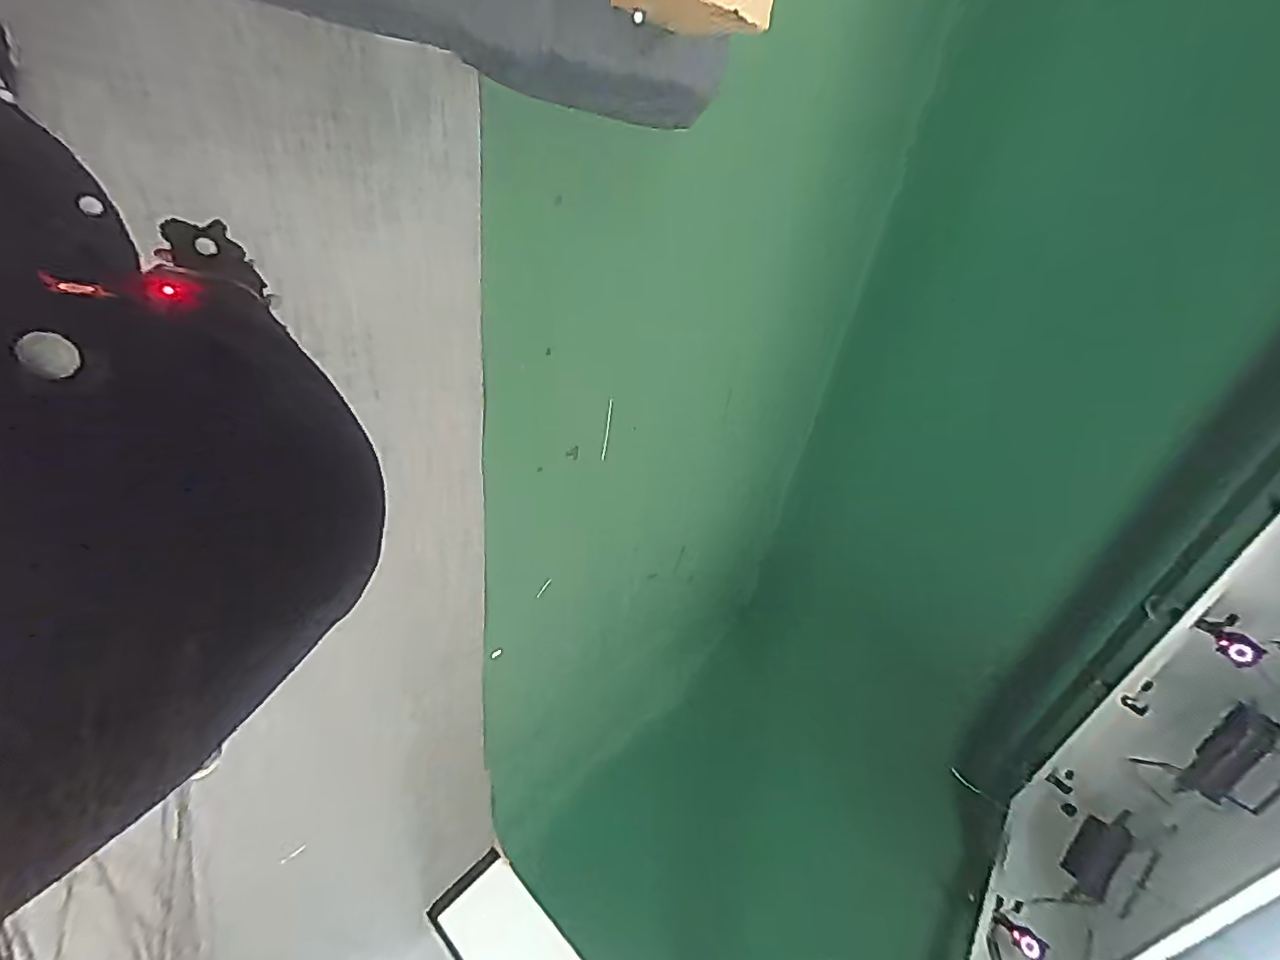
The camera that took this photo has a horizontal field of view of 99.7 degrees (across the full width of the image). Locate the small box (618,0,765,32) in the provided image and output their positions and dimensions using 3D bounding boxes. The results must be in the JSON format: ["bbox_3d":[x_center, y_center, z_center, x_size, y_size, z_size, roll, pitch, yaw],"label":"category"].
[{"bbox_3d":[0.072,-0.742,0.738,0.168,0.176,0.179,-25,134,-44],"label":"small box"}]
